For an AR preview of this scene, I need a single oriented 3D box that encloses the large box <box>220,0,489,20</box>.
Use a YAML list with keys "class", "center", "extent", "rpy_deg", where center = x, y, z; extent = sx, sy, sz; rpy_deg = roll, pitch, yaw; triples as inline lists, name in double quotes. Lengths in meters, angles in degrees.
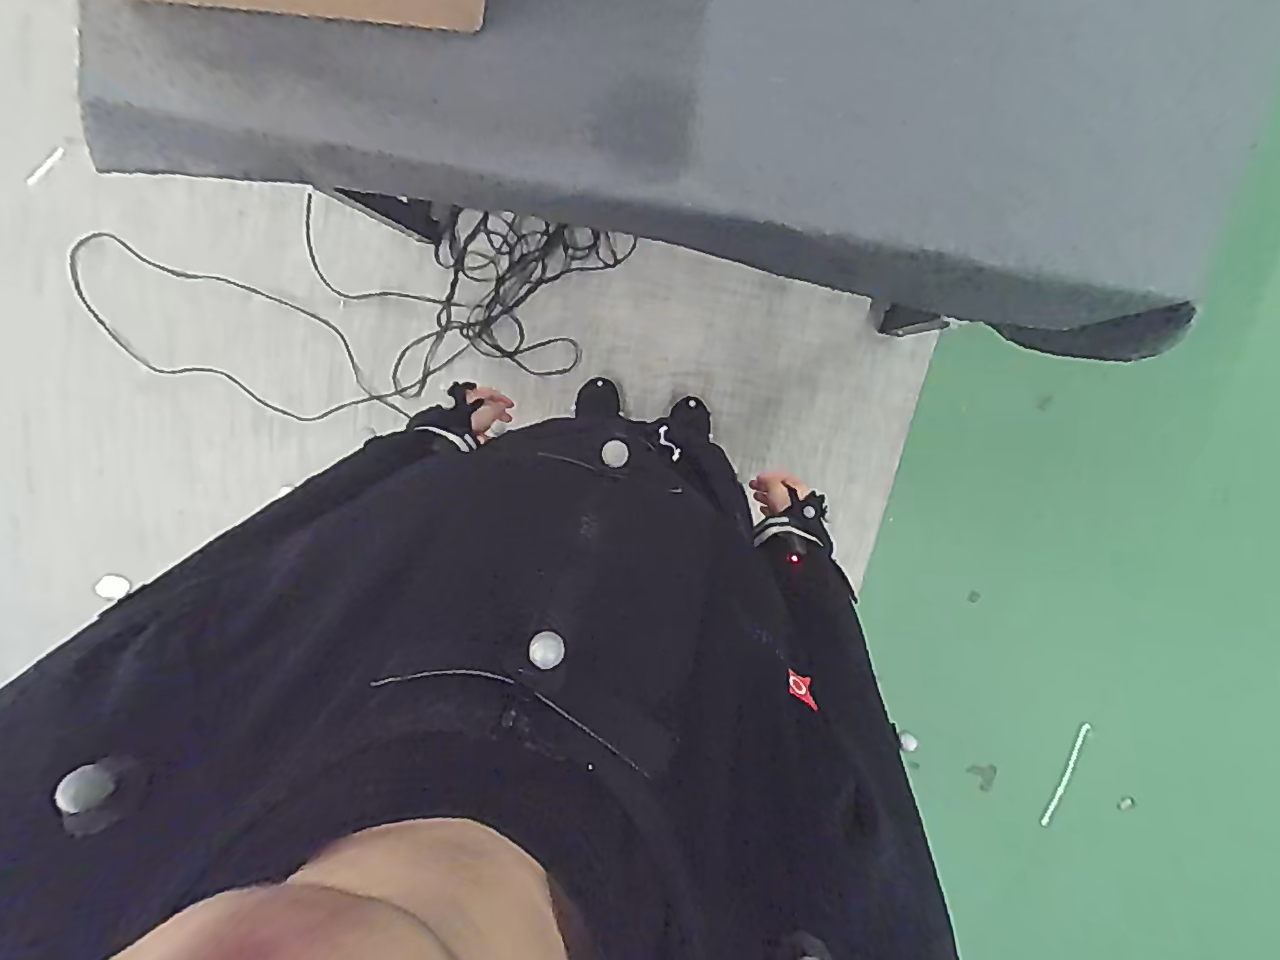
- class: "large box"
  center: [-0.343, -0.610, 0.387]
  extent: [0.408, 0.320, 0.320]
  rpy_deg: [7, 101, 1]
